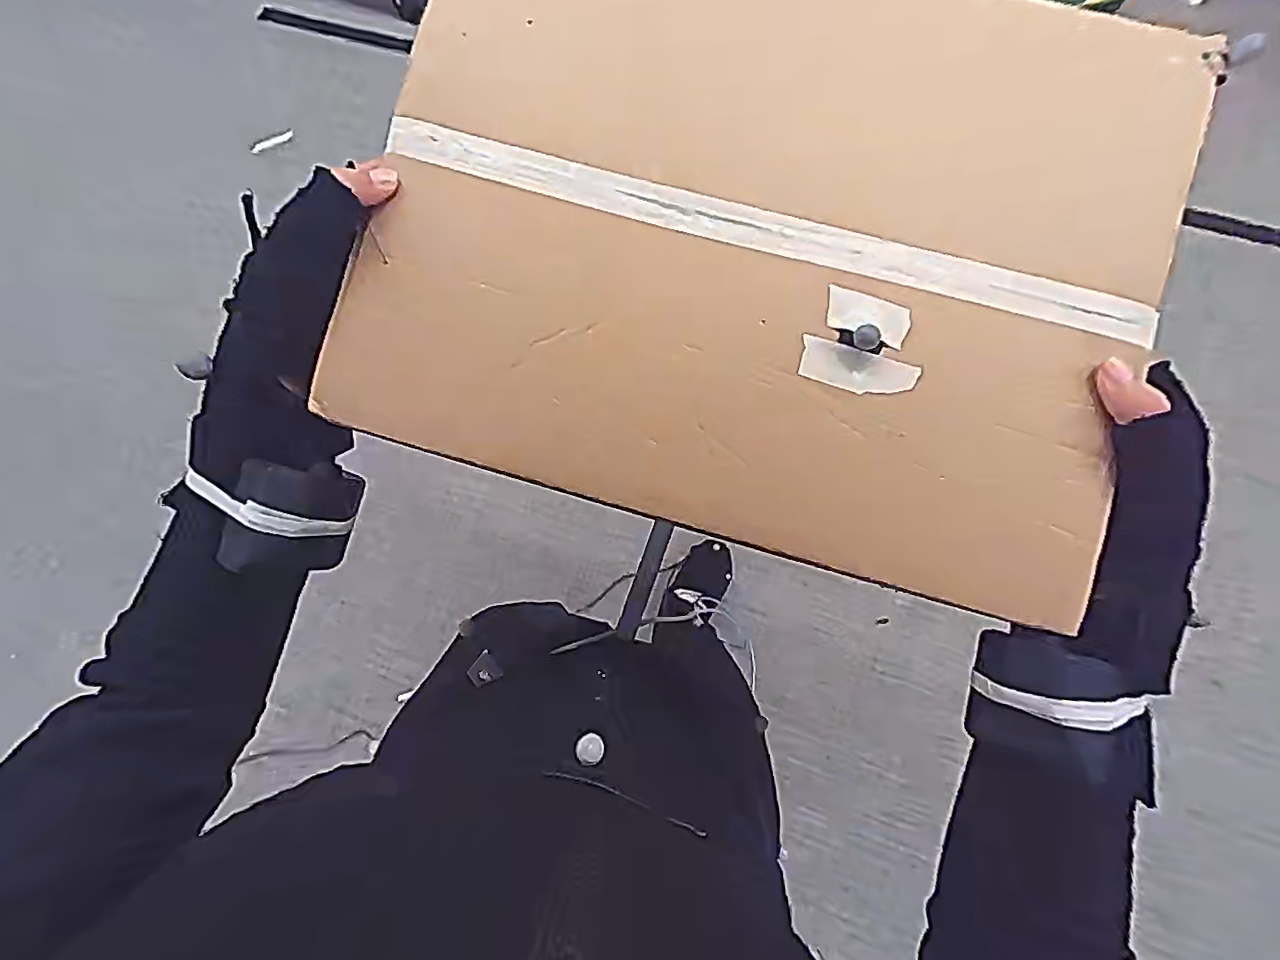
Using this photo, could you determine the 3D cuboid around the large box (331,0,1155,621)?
[{"bbox_3d":[0.059,-0.111,0.447,0.408,0.320,0.320,16,88,3],"label":"large box"}]
